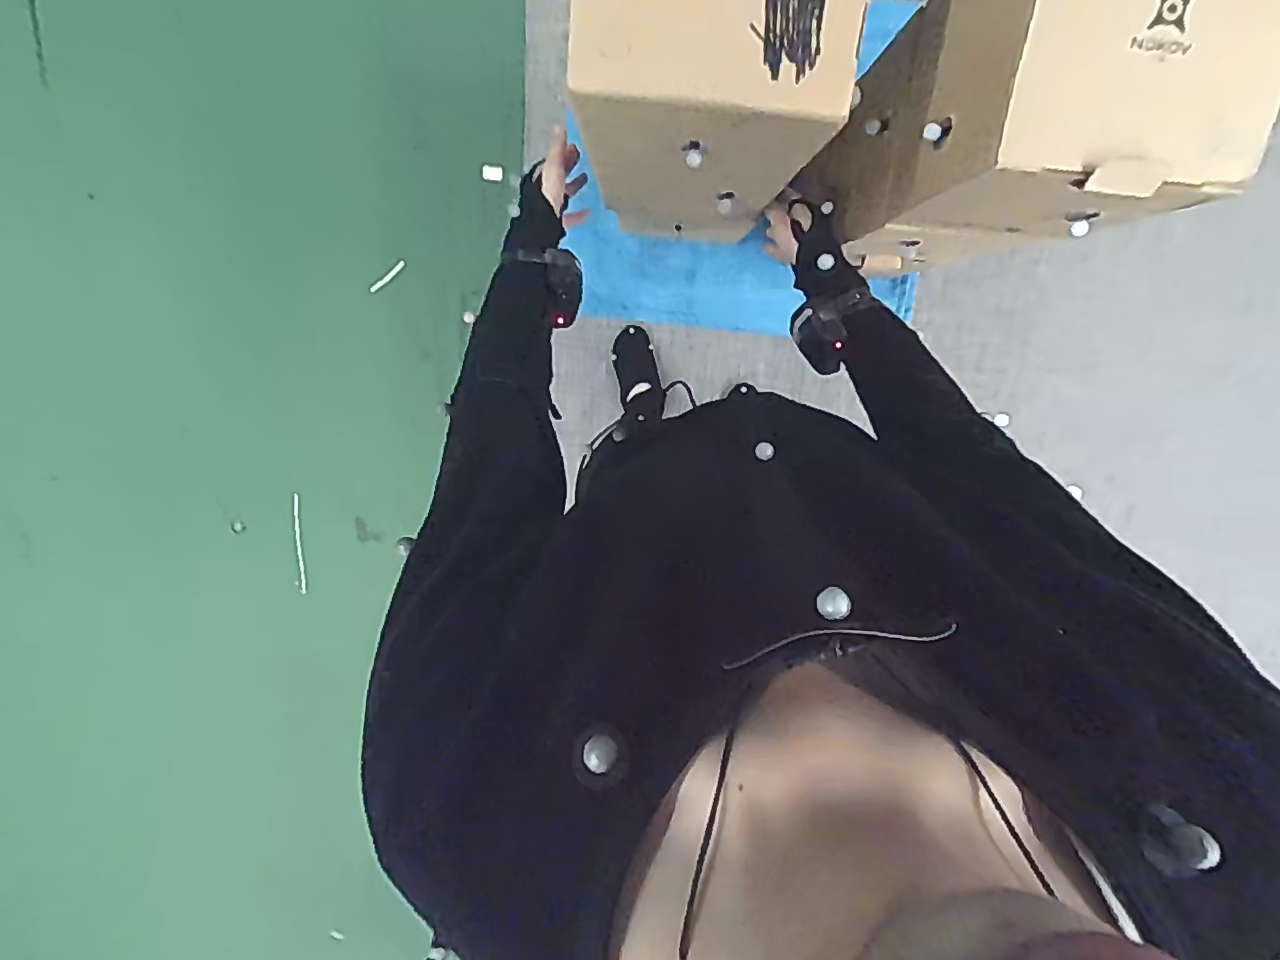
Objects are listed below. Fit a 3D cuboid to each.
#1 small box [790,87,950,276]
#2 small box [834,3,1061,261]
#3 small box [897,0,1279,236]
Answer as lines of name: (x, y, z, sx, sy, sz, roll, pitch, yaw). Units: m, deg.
small box: (0.304, -0.370, 0.704, 0.168, 0.176, 0.179, 6, 106, -1)
small box: (0.311, -0.327, 0.547, 0.168, 0.176, 0.179, 3, 104, 0)
small box: (0.311, -0.288, 0.389, 0.168, 0.176, 0.179, 6, 104, -1)
